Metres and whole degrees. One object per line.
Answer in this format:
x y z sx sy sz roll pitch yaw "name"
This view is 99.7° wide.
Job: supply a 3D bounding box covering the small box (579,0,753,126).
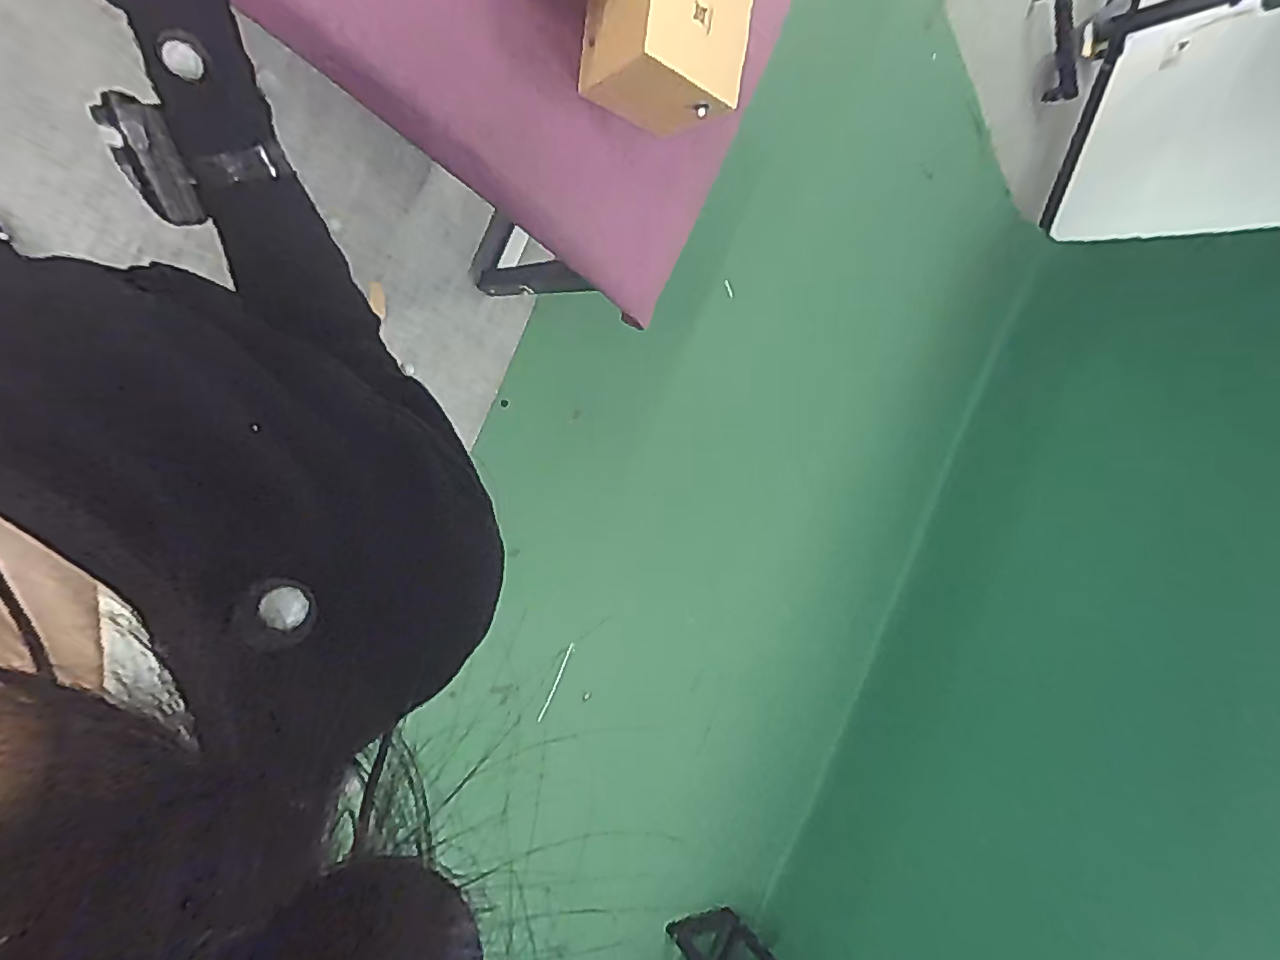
0.033 -0.635 0.764 0.179 0.176 0.168 -1 104 -40 "small box"
